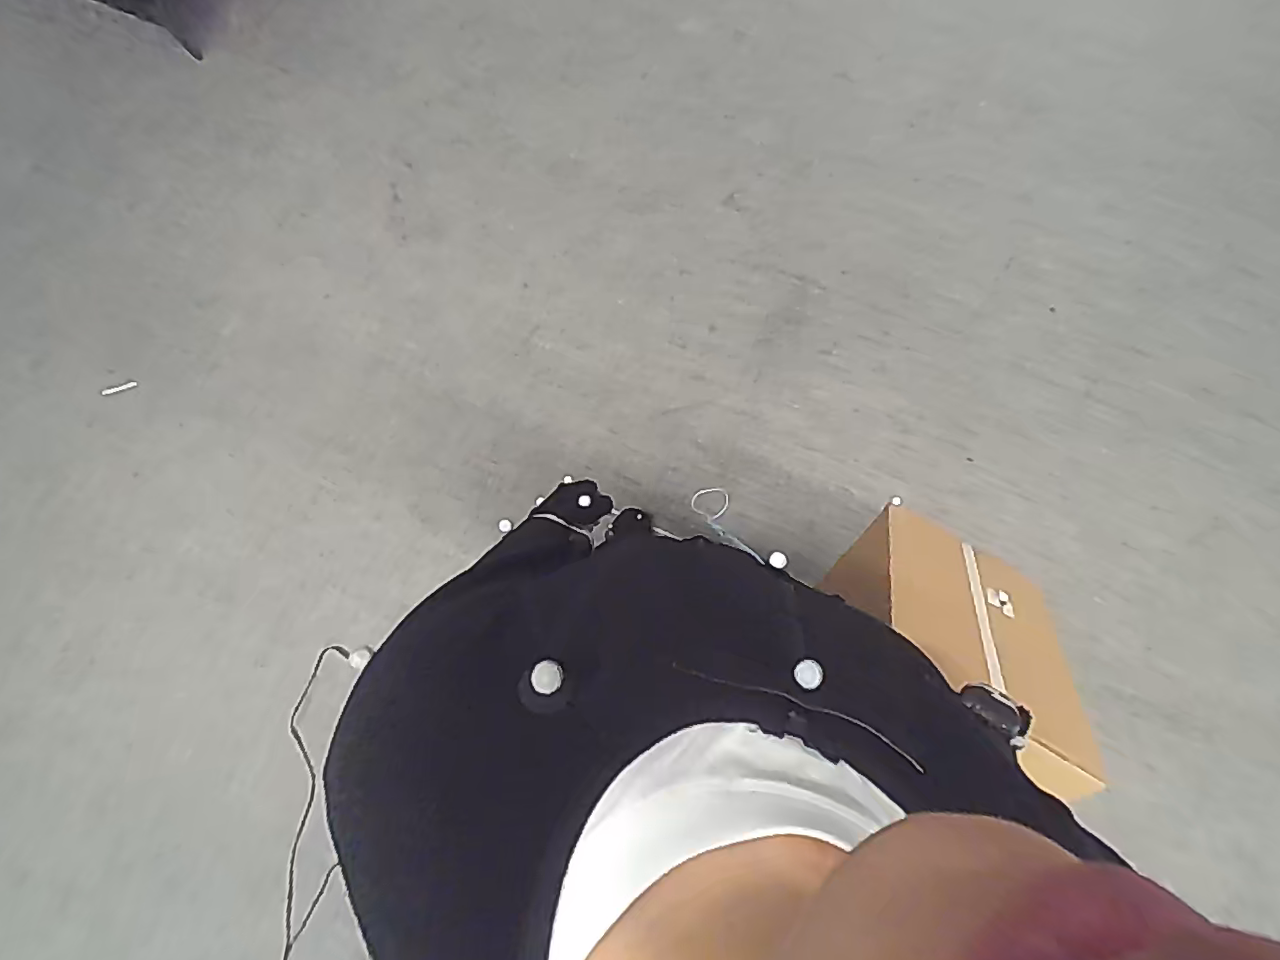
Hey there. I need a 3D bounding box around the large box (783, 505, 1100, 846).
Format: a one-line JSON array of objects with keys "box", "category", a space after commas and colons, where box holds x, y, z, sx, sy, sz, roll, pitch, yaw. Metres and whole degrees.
[{"box": [0.484, 0.326, 0.960, 0.320, 0.408, 0.320, 31, 126, 4], "category": "large box"}]
